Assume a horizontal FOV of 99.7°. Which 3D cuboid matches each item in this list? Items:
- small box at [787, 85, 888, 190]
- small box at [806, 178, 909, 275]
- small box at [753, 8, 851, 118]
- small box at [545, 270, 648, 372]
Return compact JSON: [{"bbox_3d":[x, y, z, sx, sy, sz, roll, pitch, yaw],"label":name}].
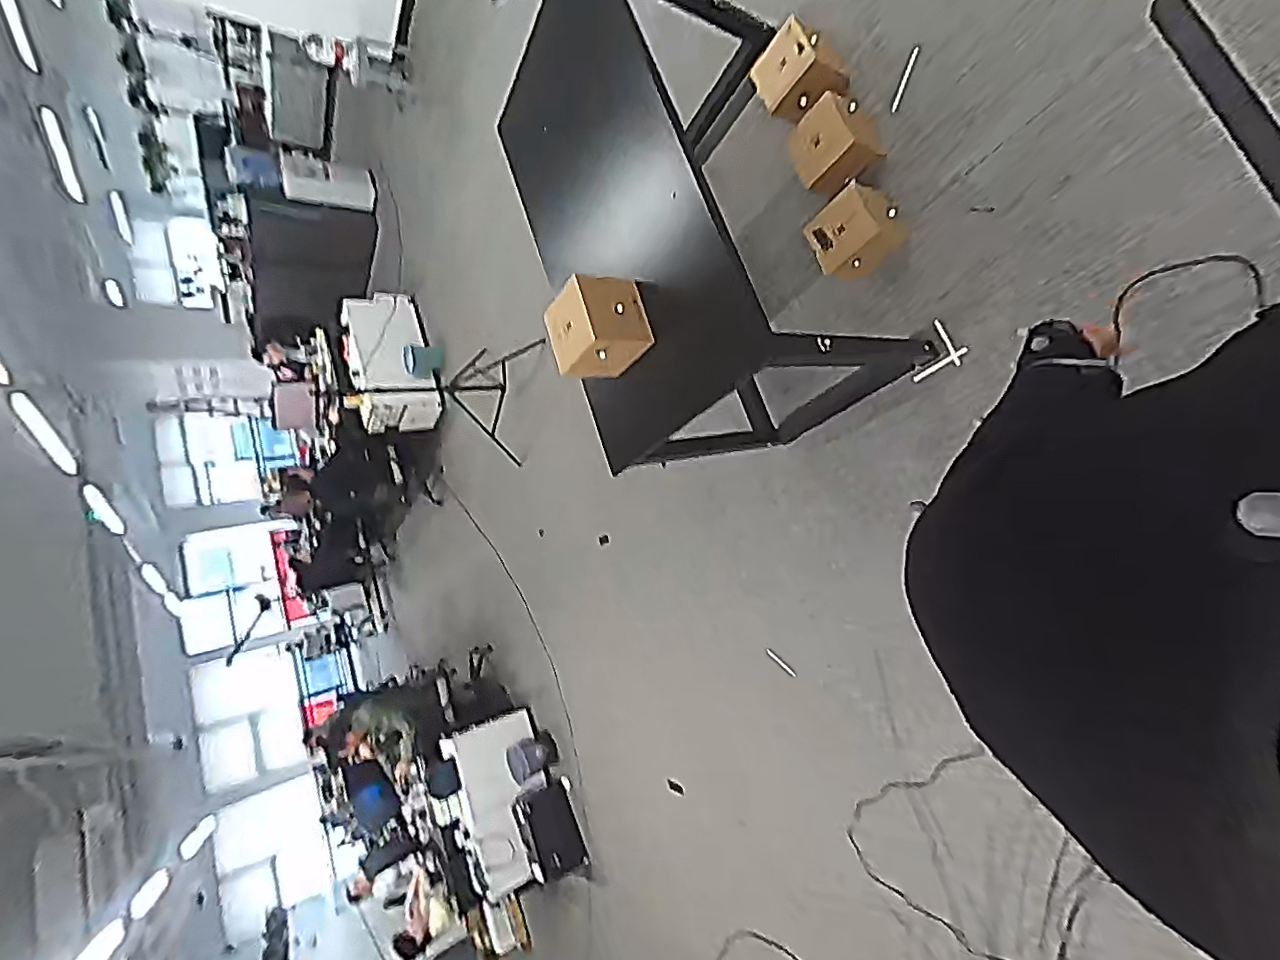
[{"bbox_3d":[0.550,-0.944,1.509,0.168,0.176,0.179,-36,70,52],"label":"small box"},{"bbox_3d":[0.601,-0.691,1.497,0.179,0.176,0.168,-35,70,50],"label":"small box"},{"bbox_3d":[0.468,-1.188,1.560,0.179,0.176,0.168,-36,70,51],"label":"small box"},{"bbox_3d":[-0.098,-0.370,1.278,0.179,0.176,0.168,-30,73,52],"label":"small box"}]
